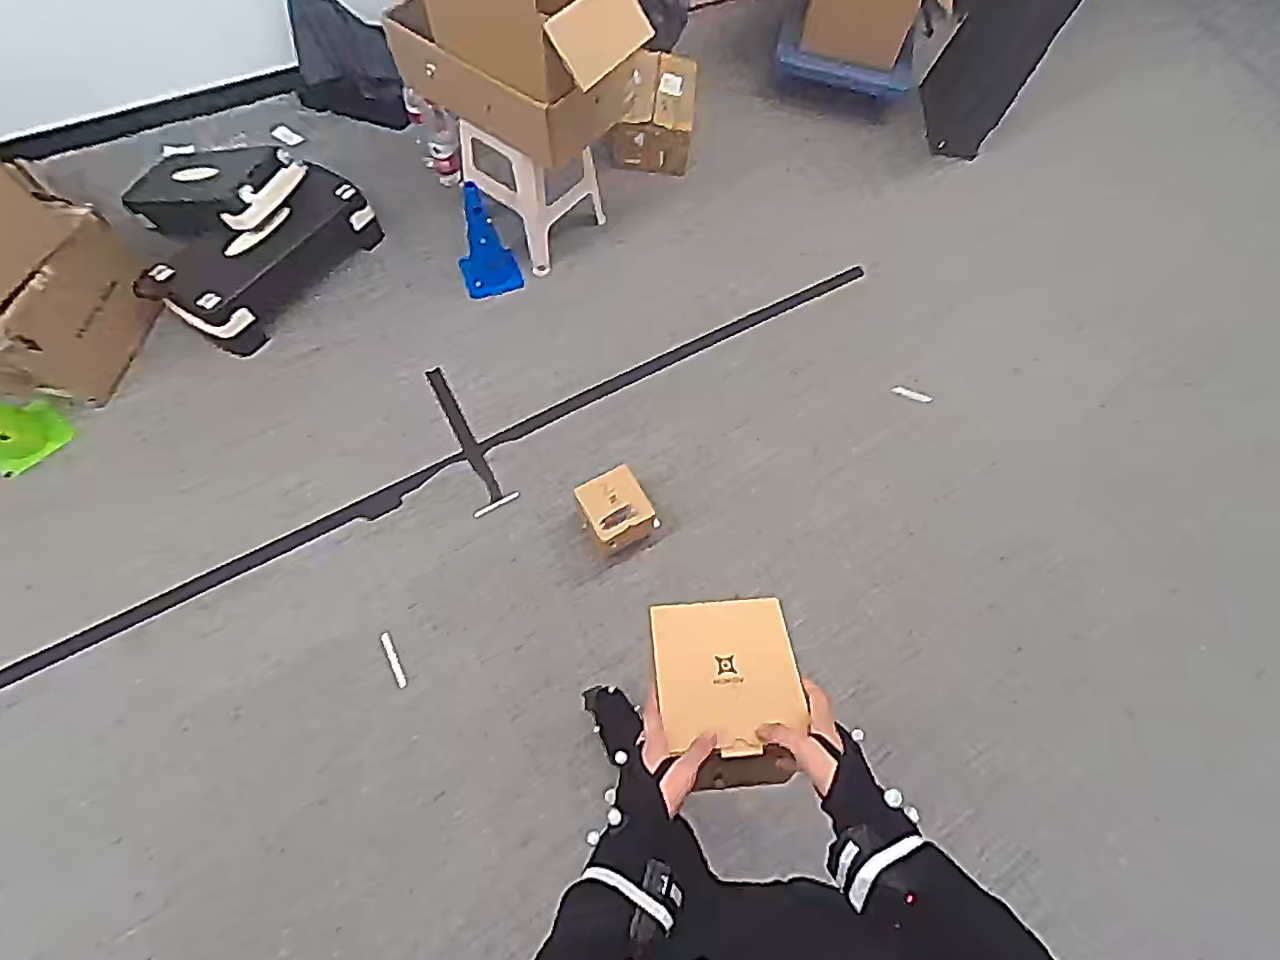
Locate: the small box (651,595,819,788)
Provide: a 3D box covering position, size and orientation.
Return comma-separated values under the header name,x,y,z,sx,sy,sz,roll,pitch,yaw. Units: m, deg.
name,x,y,z,sx,sy,sz,roll,pitch,yaw
small box,0.103,0.268,0.684,0.168,0.176,0.179,-4,49,-3
